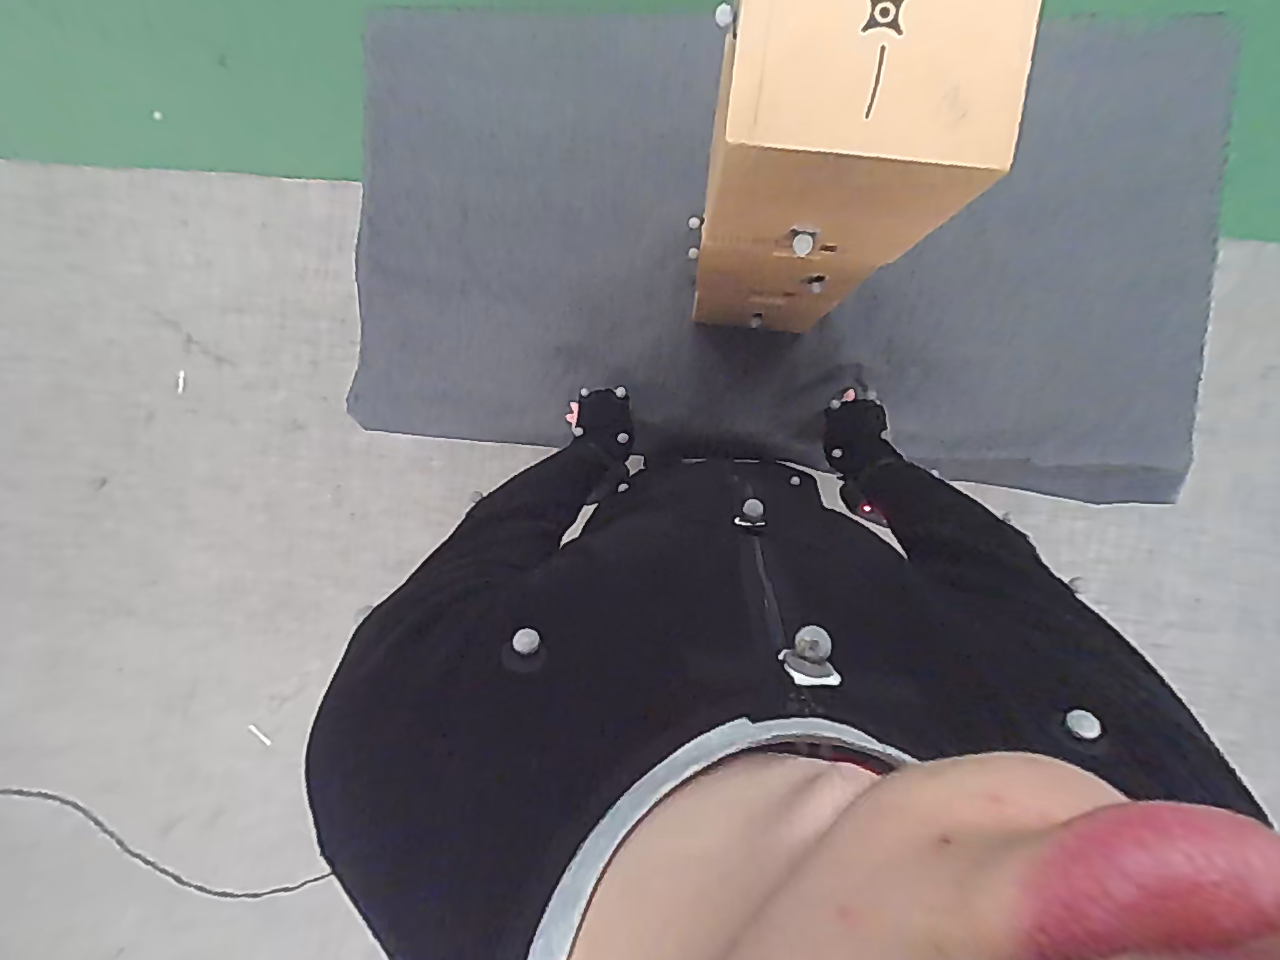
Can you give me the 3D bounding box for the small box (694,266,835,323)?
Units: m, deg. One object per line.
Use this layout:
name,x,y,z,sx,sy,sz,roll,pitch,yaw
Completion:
small box,0.162,-0.310,0.703,0.168,0.176,0.179,7,96,3

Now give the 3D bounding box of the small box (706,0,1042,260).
small box,0.141,-0.276,0.378,0.168,0.176,0.179,8,97,2

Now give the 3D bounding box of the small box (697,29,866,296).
small box,0.148,-0.295,0.541,0.168,0.176,0.179,6,94,2
